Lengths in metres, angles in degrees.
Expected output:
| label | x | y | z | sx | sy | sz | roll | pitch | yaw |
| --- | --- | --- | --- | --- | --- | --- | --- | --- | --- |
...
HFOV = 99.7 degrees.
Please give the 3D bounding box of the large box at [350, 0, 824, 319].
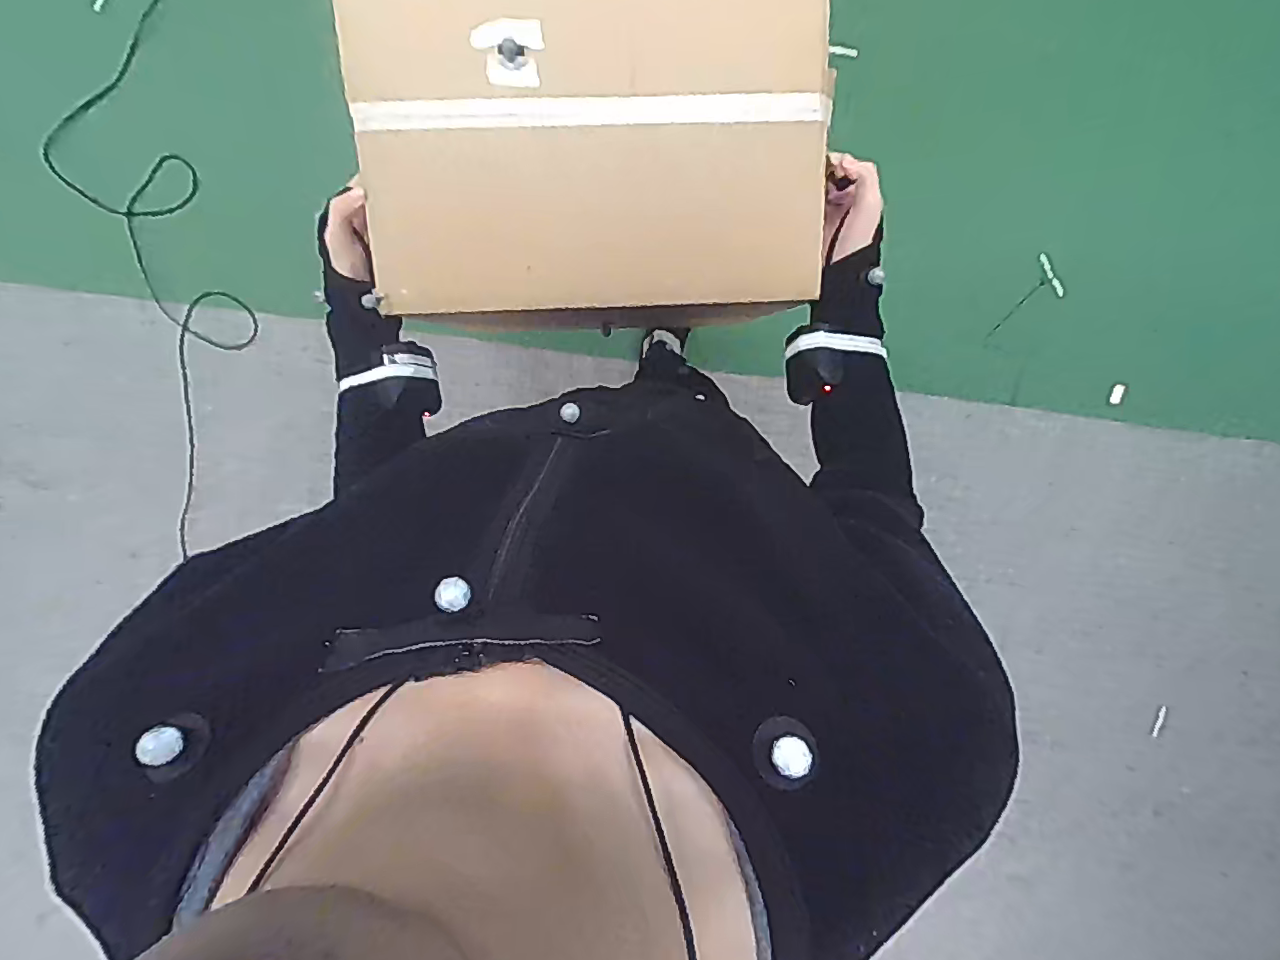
| label | x | y | z | sx | sy | sz | roll | pitch | yaw |
| --- | --- | --- | --- | --- | --- | --- | --- | --- | --- |
| large box | -0.043 | -0.356 | 0.615 | 0.408 | 0.320 | 0.320 | -3 | 103 | -2 |
